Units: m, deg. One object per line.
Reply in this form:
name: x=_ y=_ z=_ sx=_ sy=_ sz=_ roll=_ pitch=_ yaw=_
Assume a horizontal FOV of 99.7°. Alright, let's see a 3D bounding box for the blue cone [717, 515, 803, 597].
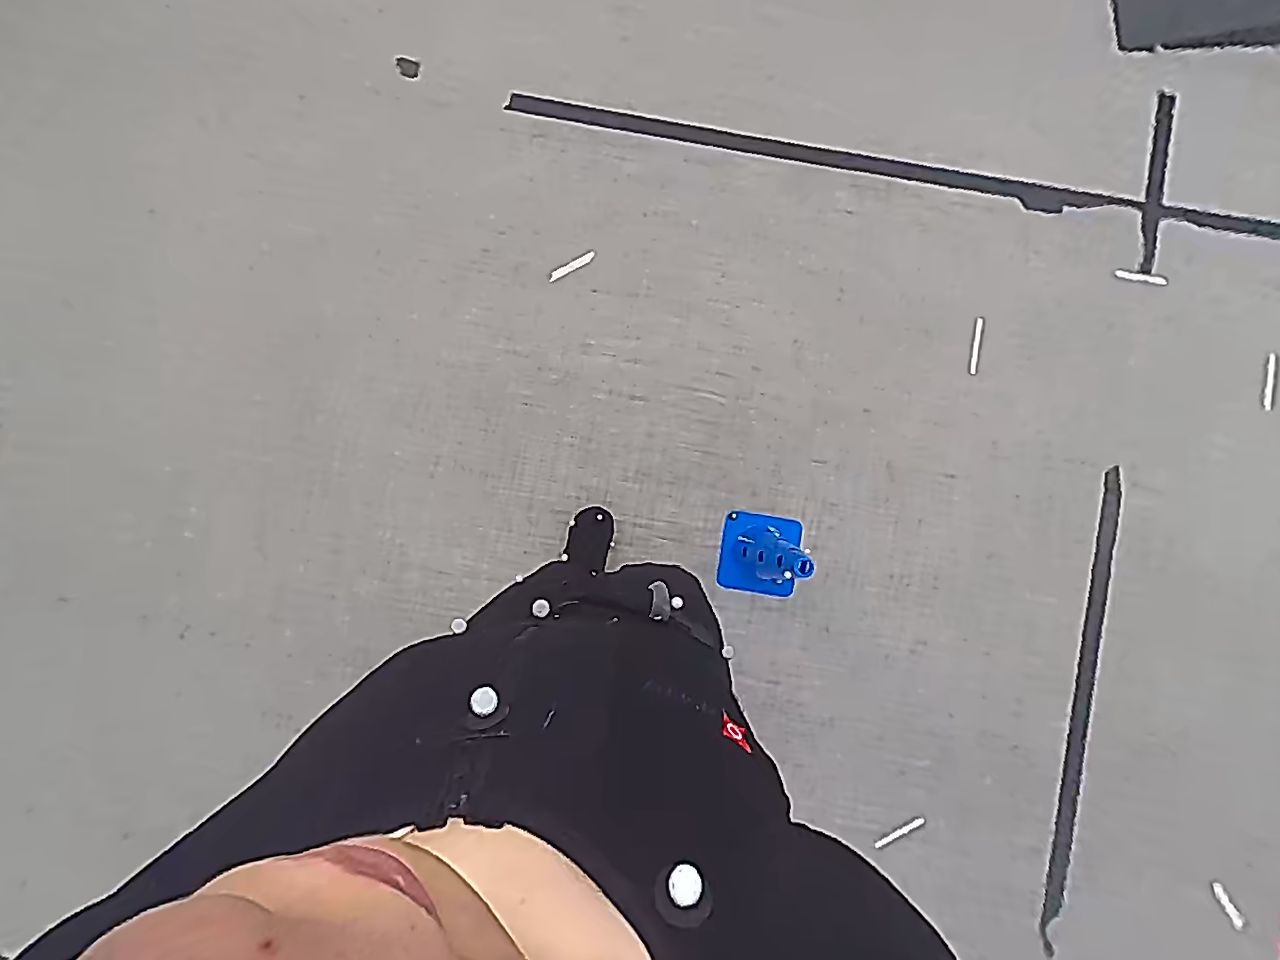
blue cone: x=0.299 y=0.183 z=1.200 sx=0.192 sy=0.380 sz=0.193 roll=11 pitch=87 yaw=1
